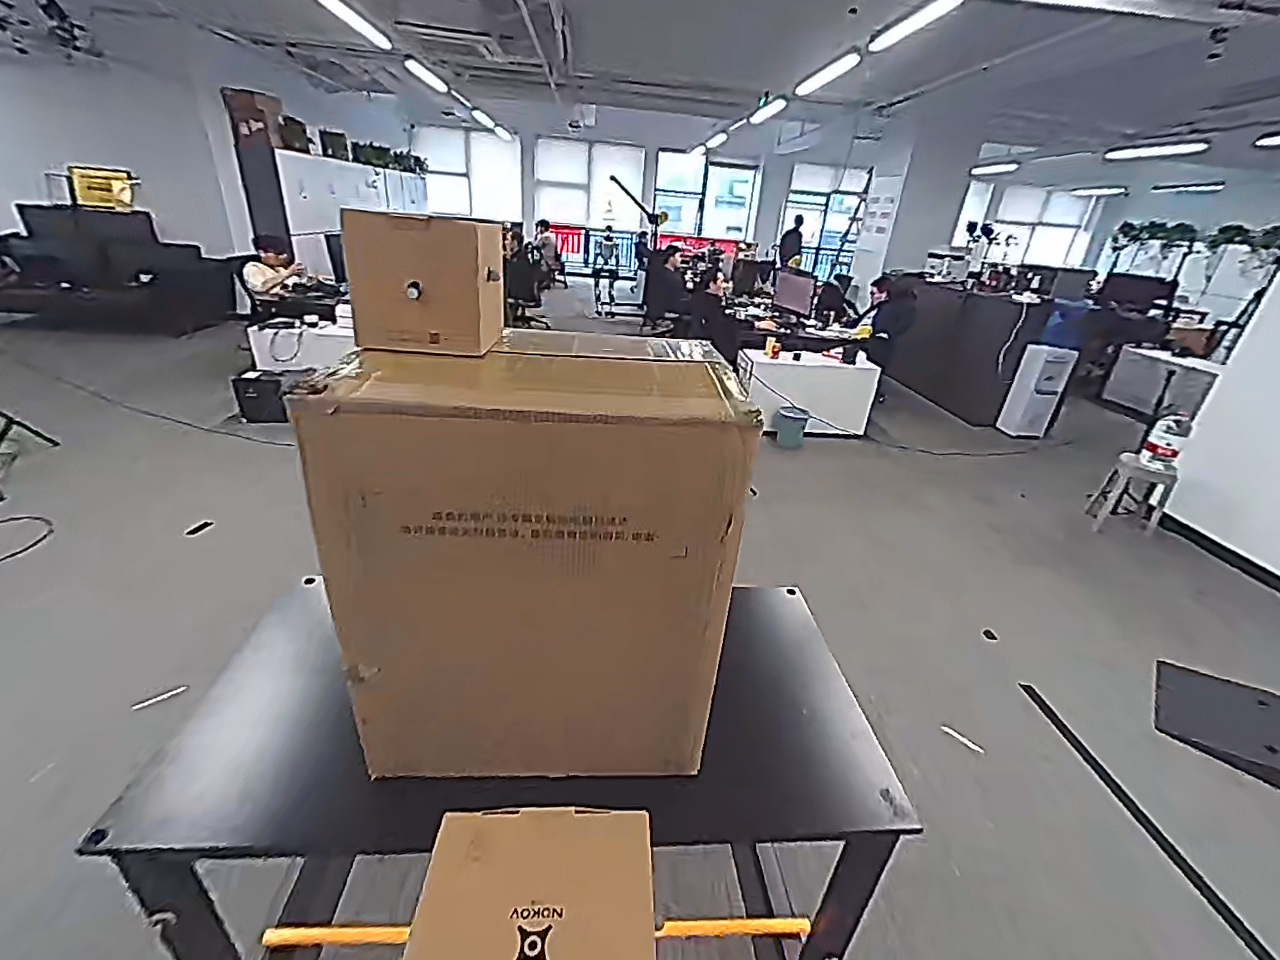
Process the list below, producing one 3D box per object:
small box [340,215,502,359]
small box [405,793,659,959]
[{"bbox_3d":[-0.291,-0.274,0.765,0.168,0.176,0.179,3,25,-6],"label":"small box"},{"bbox_3d":[-0.075,0.370,0.404,0.168,0.176,0.179,2,26,-3],"label":"small box"}]
